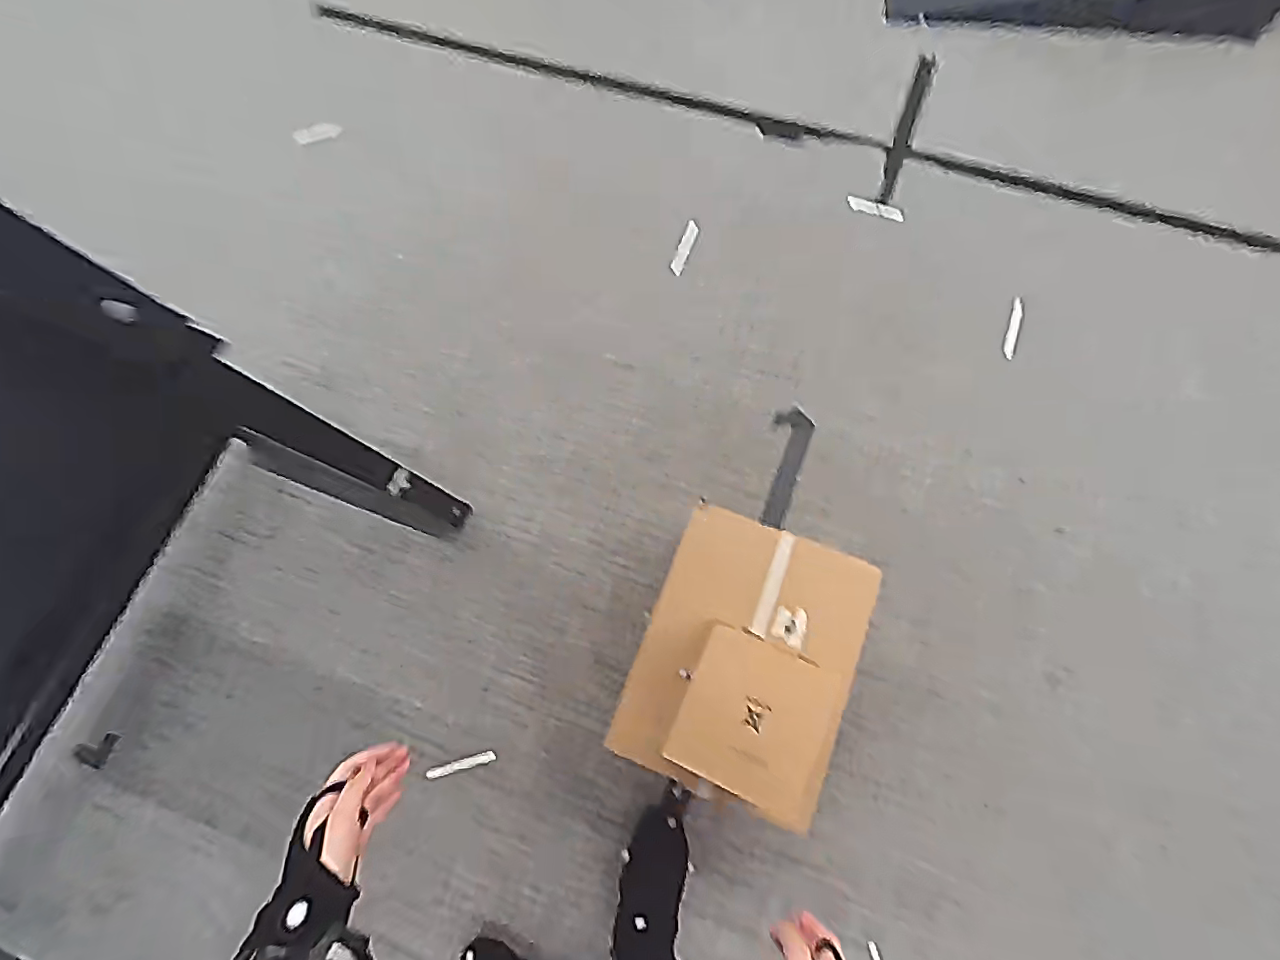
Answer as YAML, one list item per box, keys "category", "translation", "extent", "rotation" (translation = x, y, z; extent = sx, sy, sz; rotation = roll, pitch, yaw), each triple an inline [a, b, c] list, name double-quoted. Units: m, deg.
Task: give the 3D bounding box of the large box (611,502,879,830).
- category: "large box"
  translation: [0.171, 0.306, 0.964]
  extent: [0.320, 0.320, 0.408]
  rotation: [21, 76, 7]

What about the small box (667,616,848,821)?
- category: "small box"
  translation: [0.142, 0.296, 0.713]
  extent: [0.168, 0.176, 0.179]
  rotation: [24, 77, 10]
